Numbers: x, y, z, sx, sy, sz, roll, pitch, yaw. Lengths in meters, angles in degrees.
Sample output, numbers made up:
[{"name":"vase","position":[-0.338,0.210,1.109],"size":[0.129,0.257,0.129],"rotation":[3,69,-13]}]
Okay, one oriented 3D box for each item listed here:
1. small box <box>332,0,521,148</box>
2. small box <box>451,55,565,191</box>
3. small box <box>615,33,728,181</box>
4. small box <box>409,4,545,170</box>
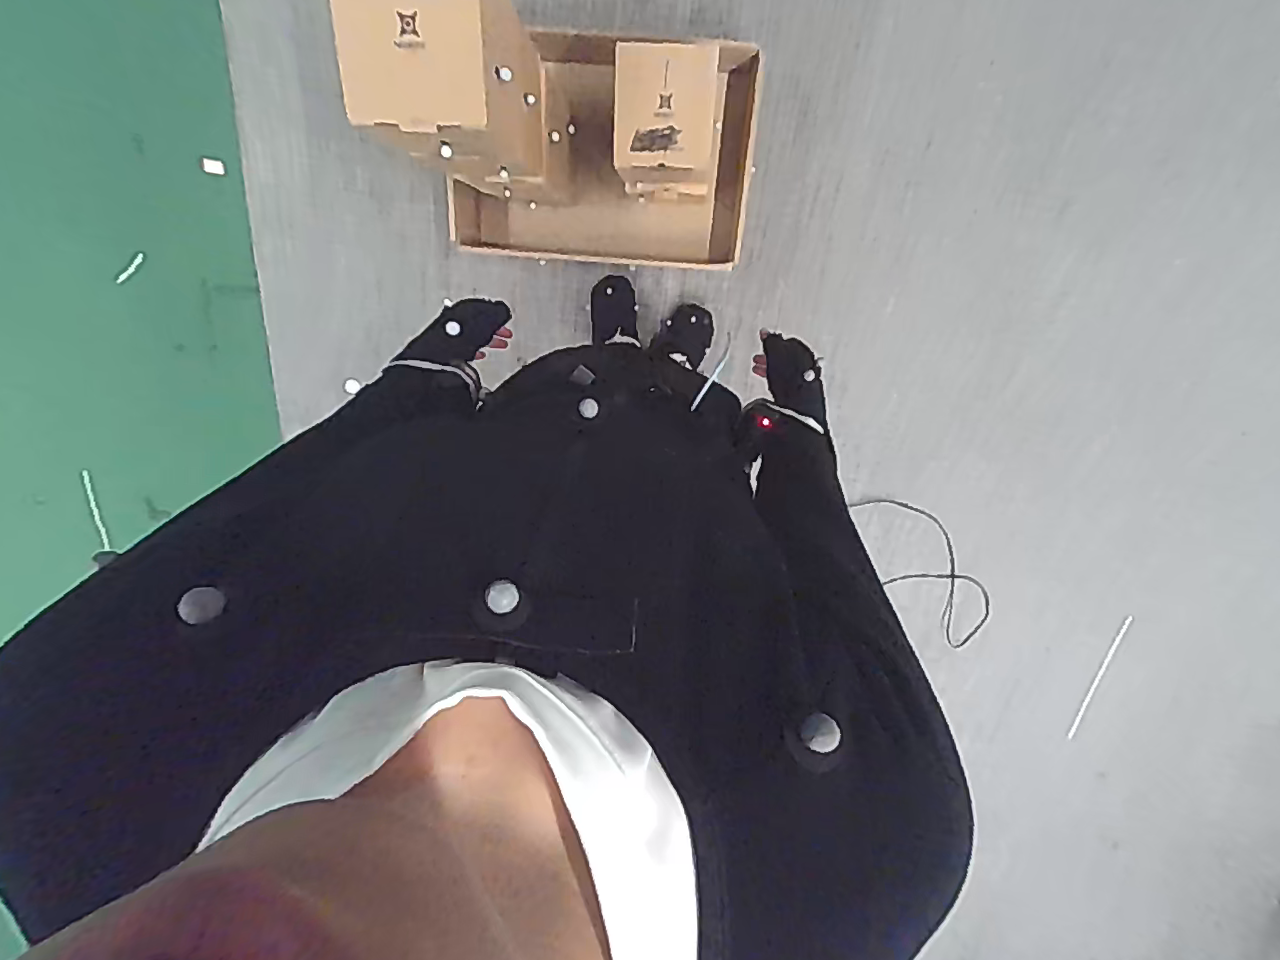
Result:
[{"name":"small box","position":[-0.245,-0.519,0.658],"size":[0.168,0.176,0.179],"rotation":[3,113,0]},{"name":"small box","position":[-0.231,-0.632,0.966],"size":[0.168,0.176,0.179],"rotation":[5,112,0]},{"name":"small box","position":[0.053,-0.632,0.939],"size":[0.168,0.176,0.179],"rotation":[7,112,0]},{"name":"small box","position":[-0.240,-0.577,0.811],"size":[0.168,0.176,0.179],"rotation":[3,112,1]}]
